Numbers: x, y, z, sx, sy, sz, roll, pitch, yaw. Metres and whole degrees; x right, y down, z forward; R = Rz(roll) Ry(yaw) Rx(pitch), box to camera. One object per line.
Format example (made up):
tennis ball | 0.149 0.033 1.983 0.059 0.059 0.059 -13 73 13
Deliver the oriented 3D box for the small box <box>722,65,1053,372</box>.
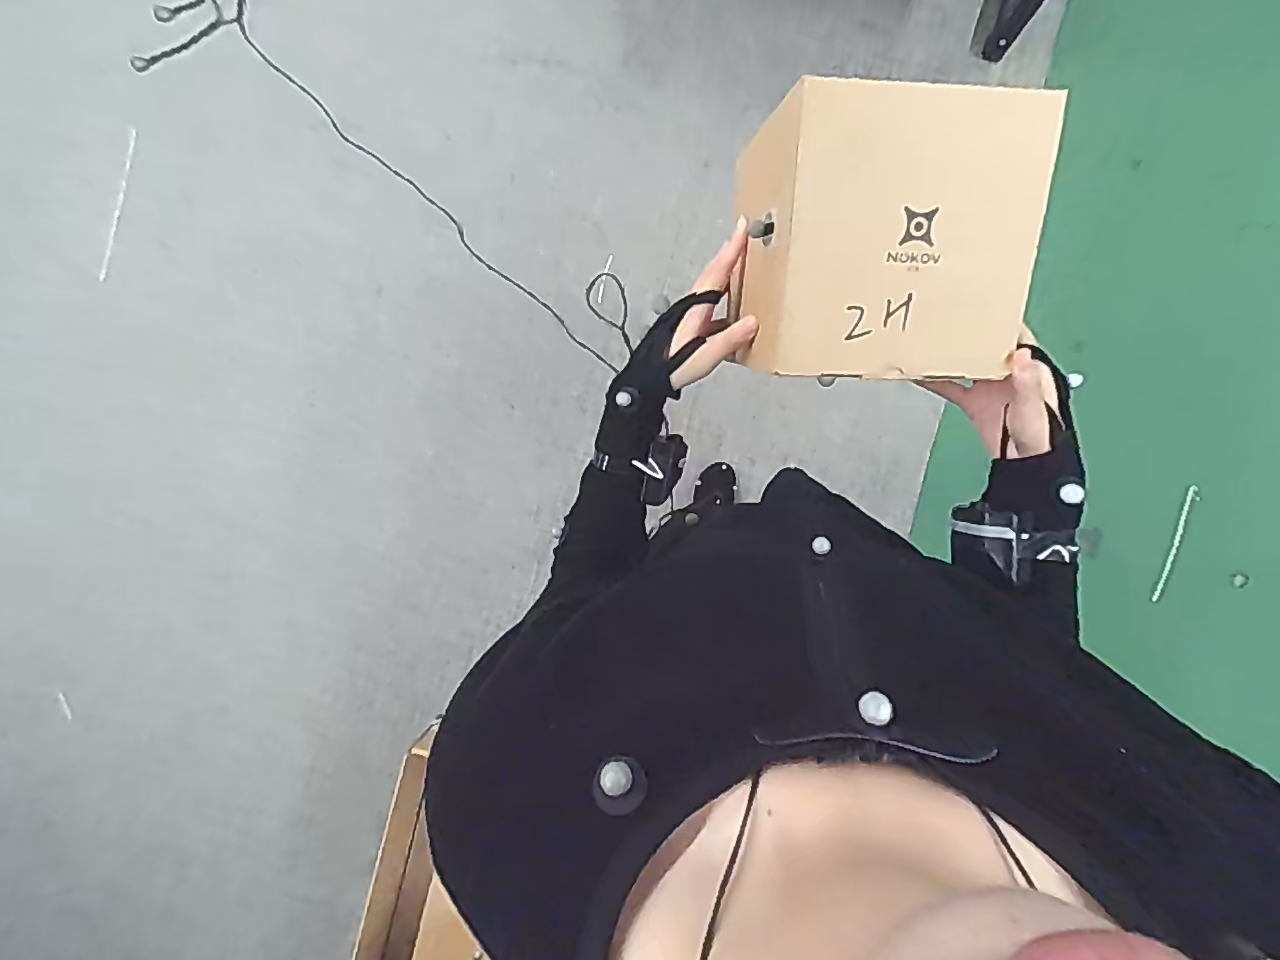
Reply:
small box | 0.165 -0.183 0.426 0.168 0.176 0.179 1 107 -4
